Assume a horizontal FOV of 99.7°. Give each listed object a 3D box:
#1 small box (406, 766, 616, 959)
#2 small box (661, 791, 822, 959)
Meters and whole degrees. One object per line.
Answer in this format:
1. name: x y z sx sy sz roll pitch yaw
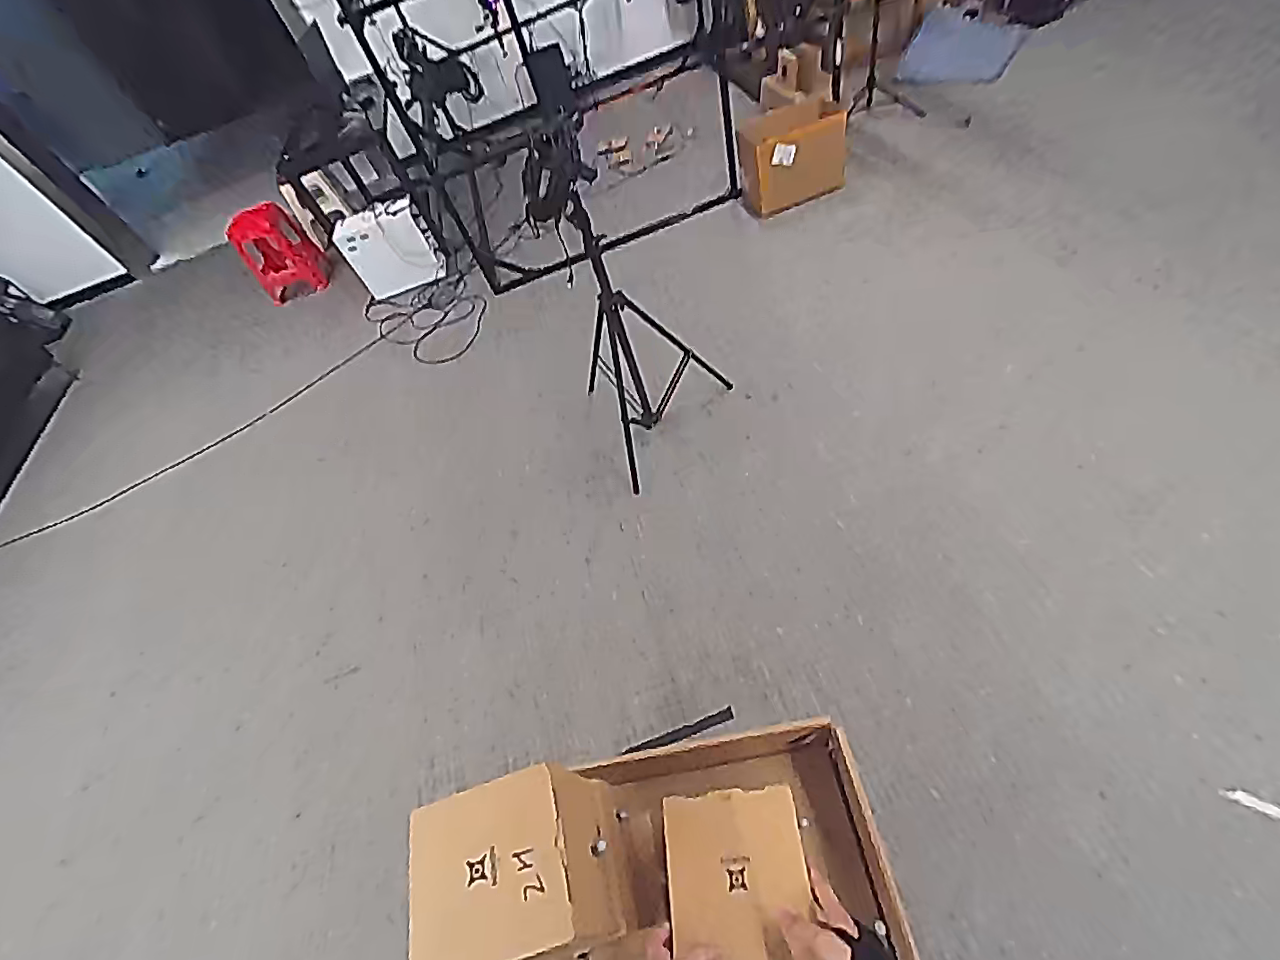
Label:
1. small box: -0.146 0.462 0.629 0.179 0.176 0.168 -20 51 1
2. small box: 0.127 0.519 0.688 0.168 0.176 0.179 -10 47 6
